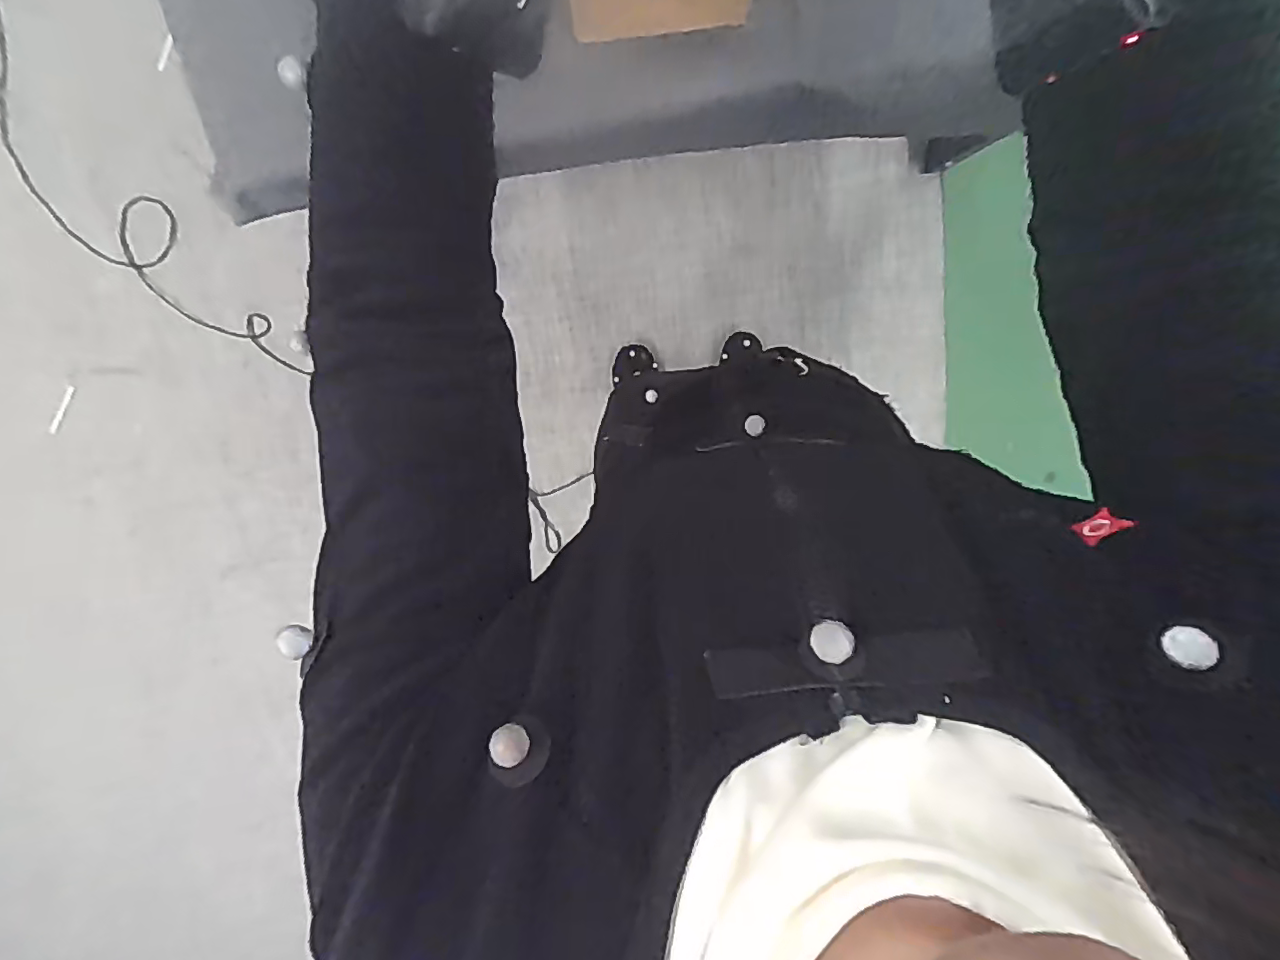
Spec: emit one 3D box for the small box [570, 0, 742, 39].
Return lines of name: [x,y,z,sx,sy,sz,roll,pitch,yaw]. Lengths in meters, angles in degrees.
small box: [0.013,-0.524,0.470,0.179,0.176,0.168,-6,104,0]
